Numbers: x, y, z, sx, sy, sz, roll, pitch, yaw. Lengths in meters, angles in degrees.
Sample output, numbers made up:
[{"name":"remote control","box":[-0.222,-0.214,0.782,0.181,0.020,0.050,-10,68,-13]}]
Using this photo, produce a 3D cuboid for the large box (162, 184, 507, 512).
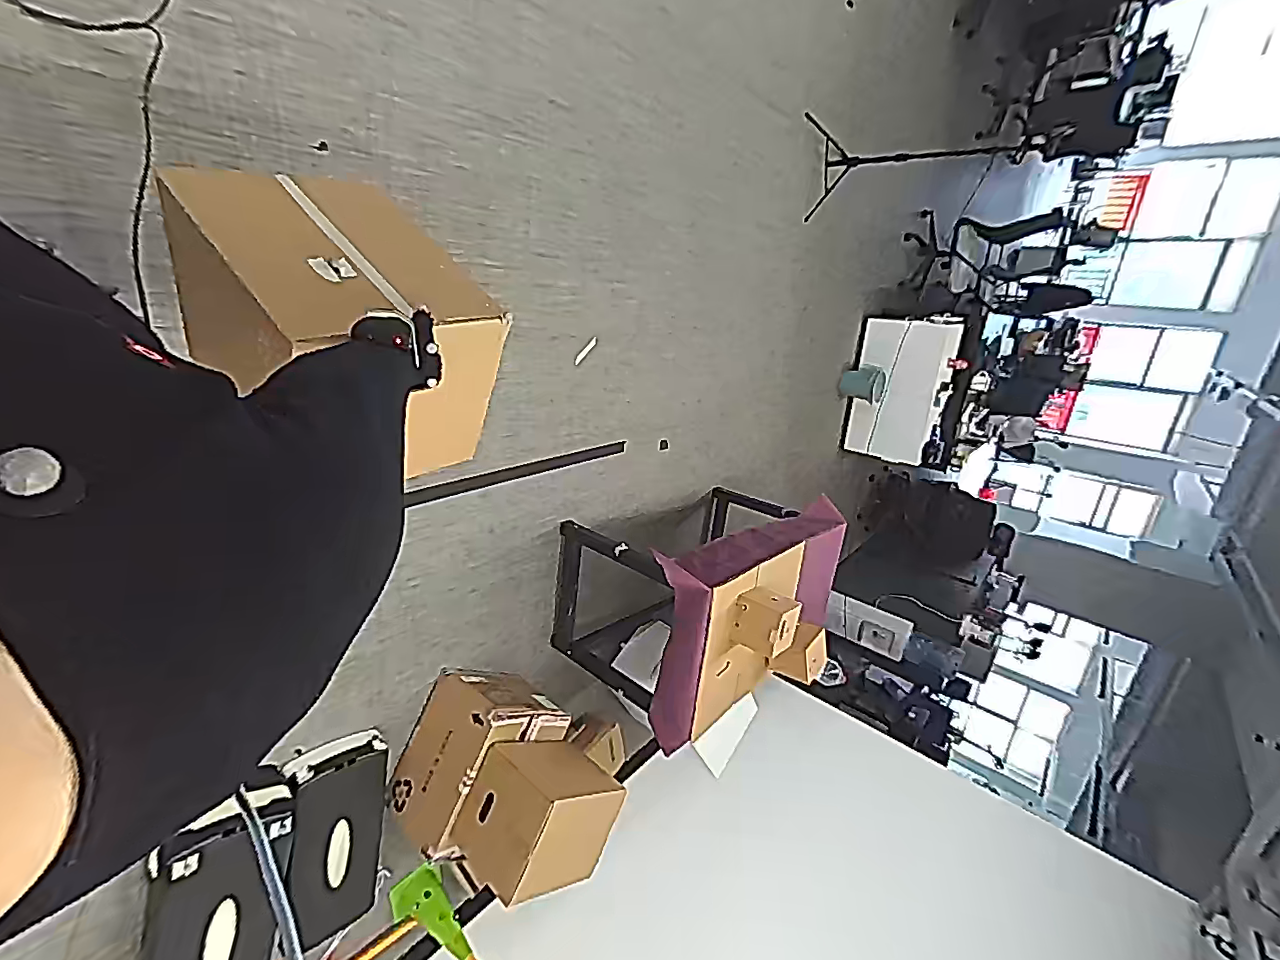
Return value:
[{"name":"large box","box":[-0.498,-0.224,0.896,0.320,0.408,0.320,-27,156,-46]}]
